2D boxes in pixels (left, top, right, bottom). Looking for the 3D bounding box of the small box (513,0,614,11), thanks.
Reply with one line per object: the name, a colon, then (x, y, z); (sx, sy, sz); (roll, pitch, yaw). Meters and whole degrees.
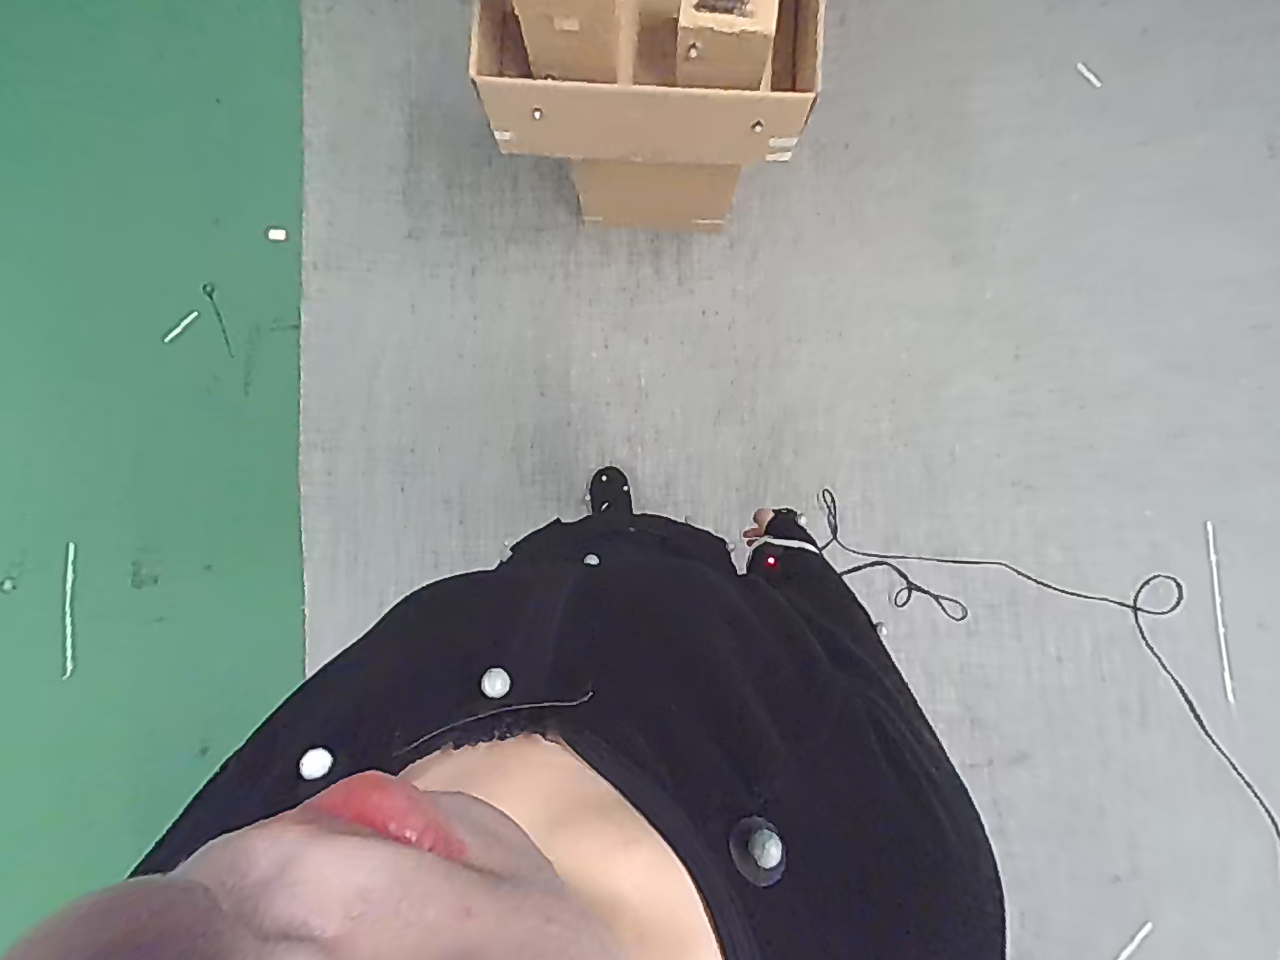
small box: (-0.127, -0.873, 0.830); (0.179, 0.176, 0.168); (2, 88, -2)
